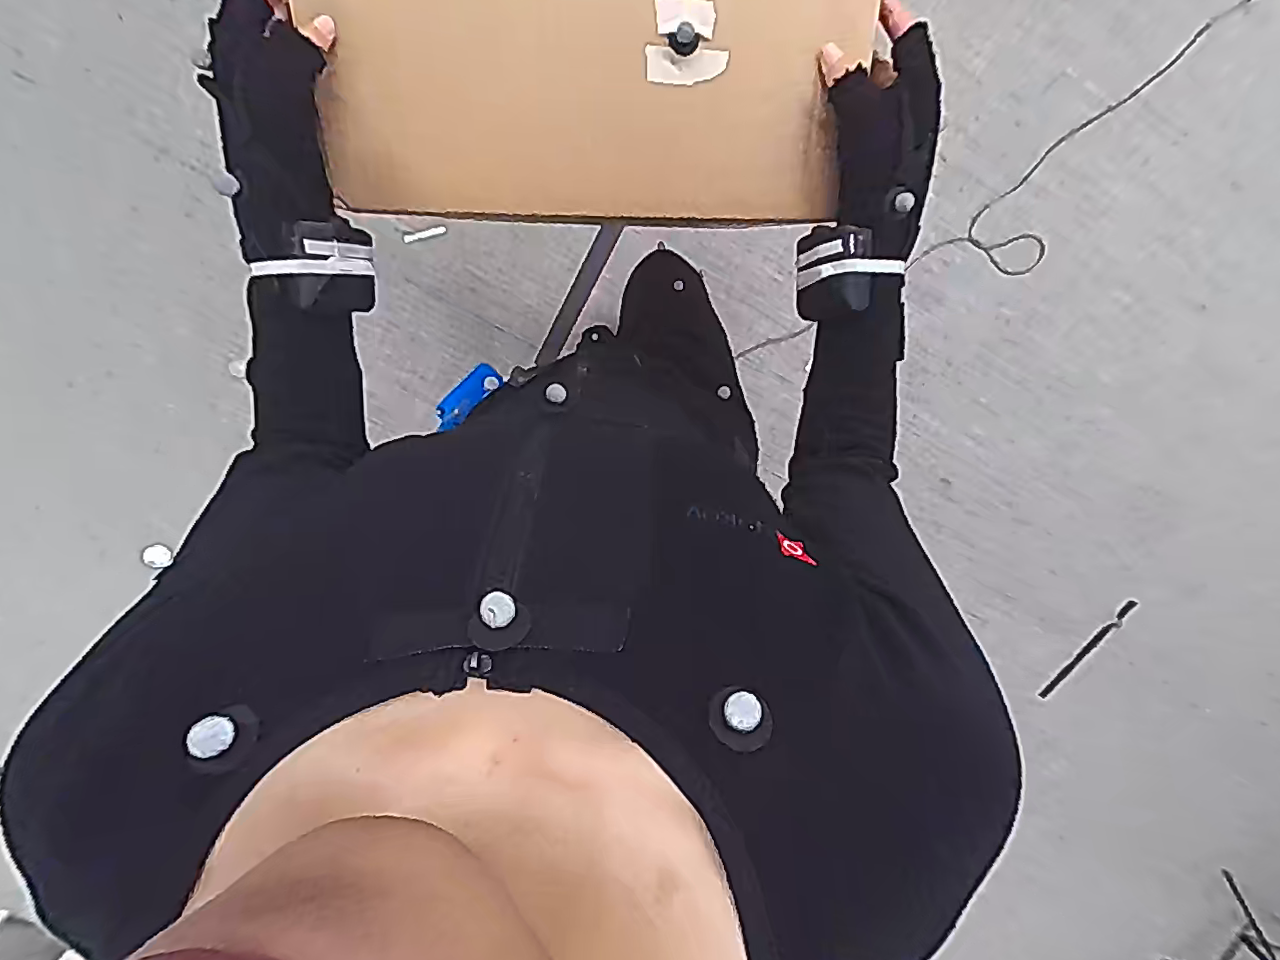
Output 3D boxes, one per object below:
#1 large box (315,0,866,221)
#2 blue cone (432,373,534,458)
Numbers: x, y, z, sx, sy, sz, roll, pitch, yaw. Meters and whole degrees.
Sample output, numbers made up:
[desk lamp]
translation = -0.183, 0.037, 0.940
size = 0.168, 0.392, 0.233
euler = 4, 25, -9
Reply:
[large box]
translation = -0.040, -0.425, 0.516
size = 0.408, 0.320, 0.320
euler = 0, 114, -3
[blue cone]
translation = -0.405, -0.124, 1.294
size = 0.192, 0.380, 0.193
euler = -39, 103, 12
